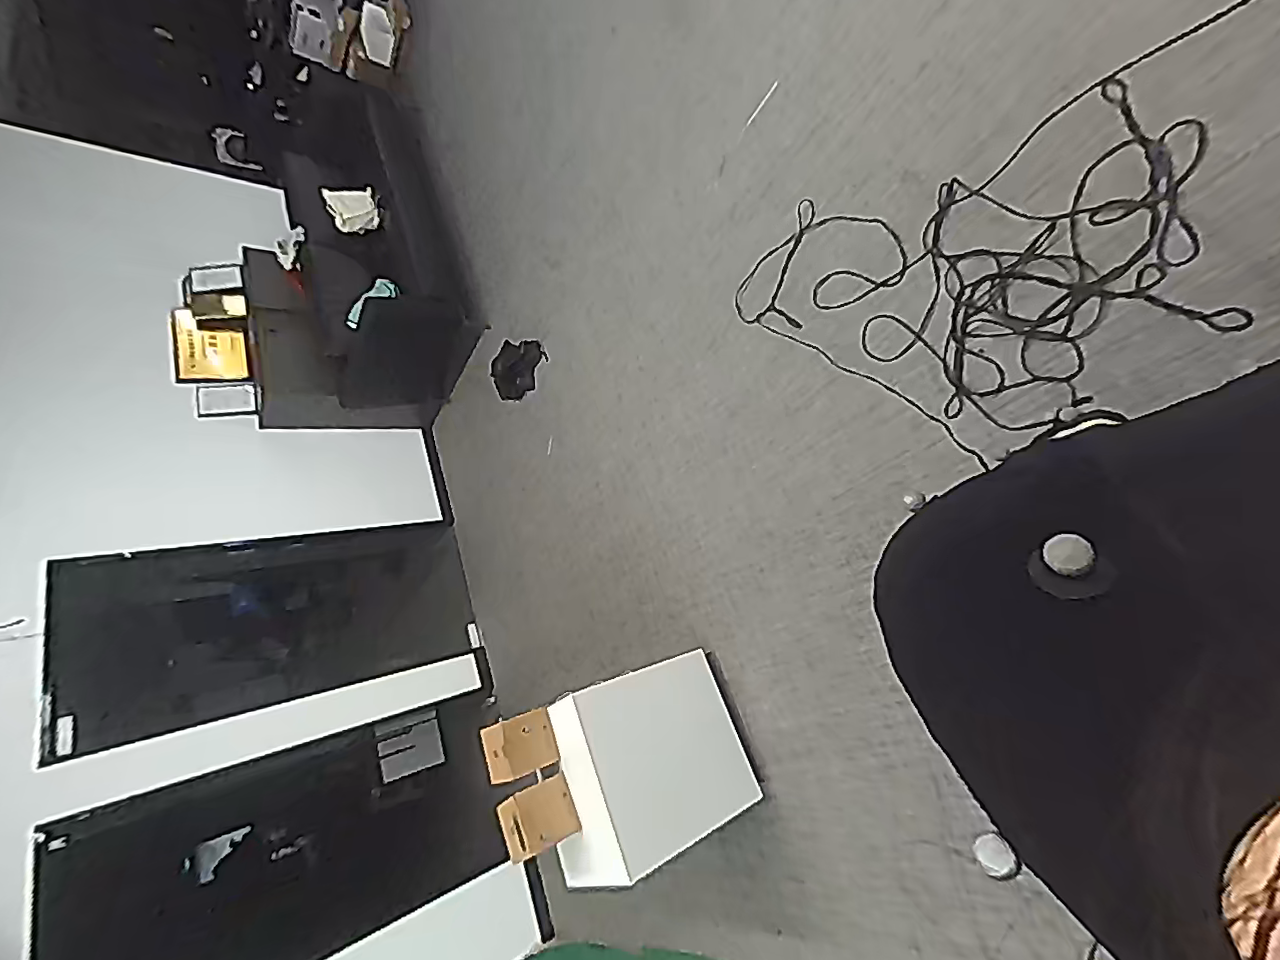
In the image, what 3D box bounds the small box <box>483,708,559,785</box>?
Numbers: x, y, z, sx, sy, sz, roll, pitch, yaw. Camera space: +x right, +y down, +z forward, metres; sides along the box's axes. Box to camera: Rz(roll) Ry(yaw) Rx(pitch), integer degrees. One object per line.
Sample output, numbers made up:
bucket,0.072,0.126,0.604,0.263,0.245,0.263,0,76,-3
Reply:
small box,-0.371,0.838,1.704,0.179,0.176,0.168,-41,61,45
